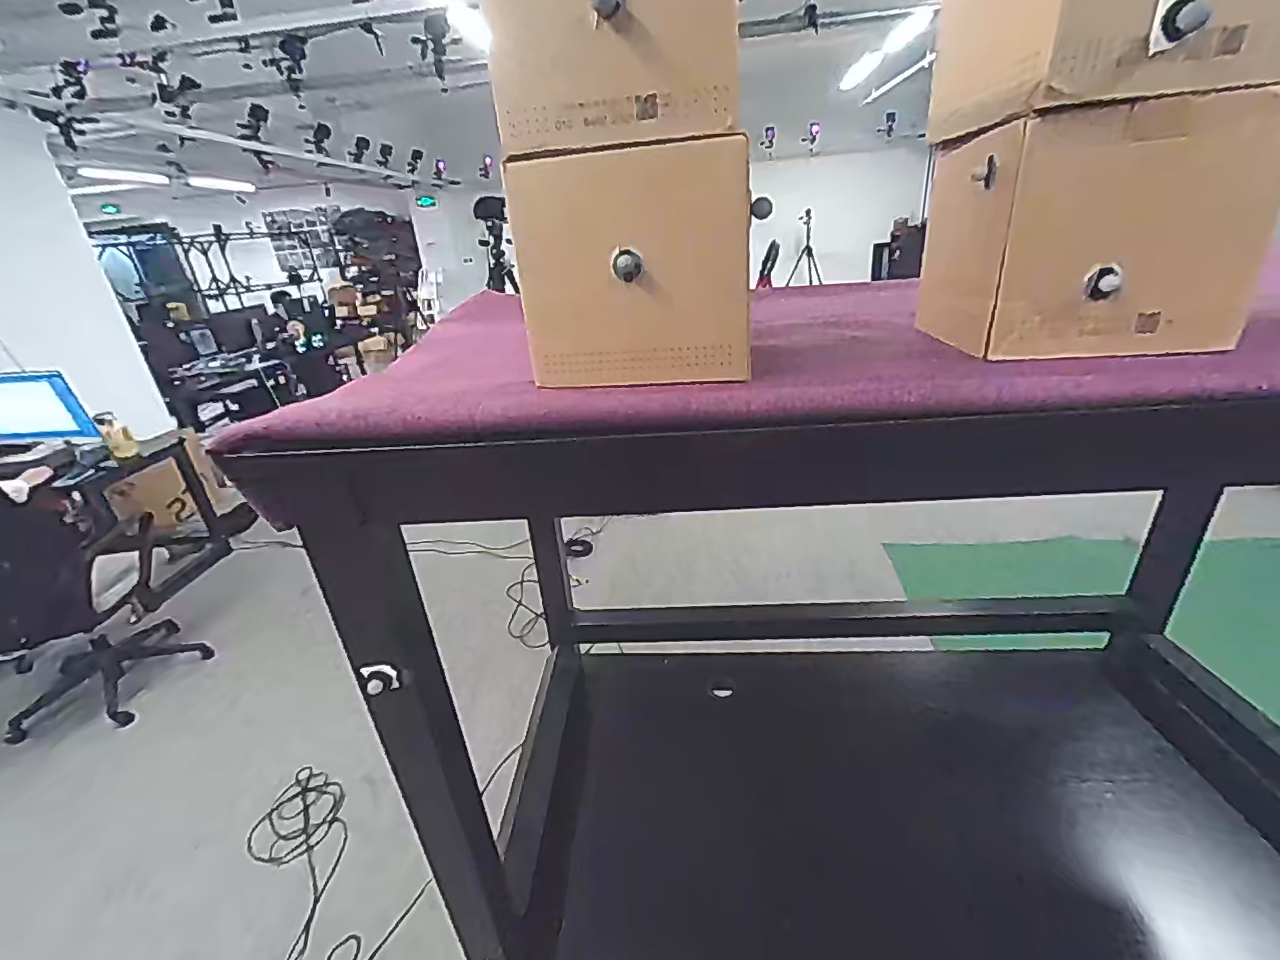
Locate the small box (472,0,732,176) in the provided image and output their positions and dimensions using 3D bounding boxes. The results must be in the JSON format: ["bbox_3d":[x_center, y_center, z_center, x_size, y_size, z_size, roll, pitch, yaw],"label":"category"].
[{"bbox_3d":[-0.020,-0.341,0.410,0.168,0.176,0.179,-3,24,7],"label":"small box"}]

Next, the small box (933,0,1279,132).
[{"bbox_3d":[0.326,-0.352,0.372,0.168,0.176,0.179,-5,26,5],"label":"small box"}]

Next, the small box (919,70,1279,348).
[{"bbox_3d":[0.346,-0.207,0.442,0.168,0.176,0.179,-1,25,10],"label":"small box"}]
